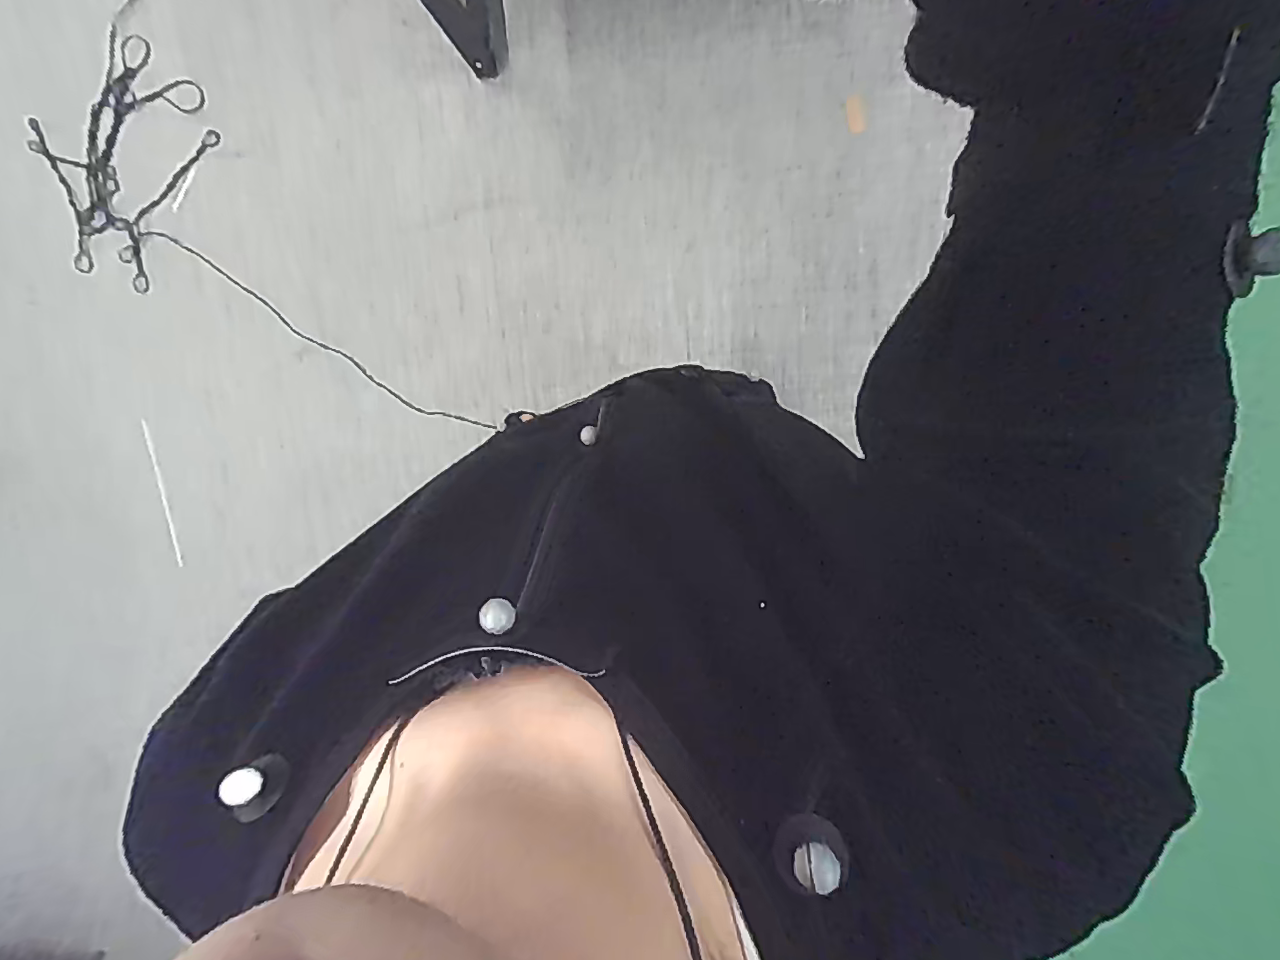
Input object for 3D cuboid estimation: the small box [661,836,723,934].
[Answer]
[{"bbox_3d":[0.157,1.204,1.618,0.179,0.176,0.168,0,99,8],"label":"small box"}]
